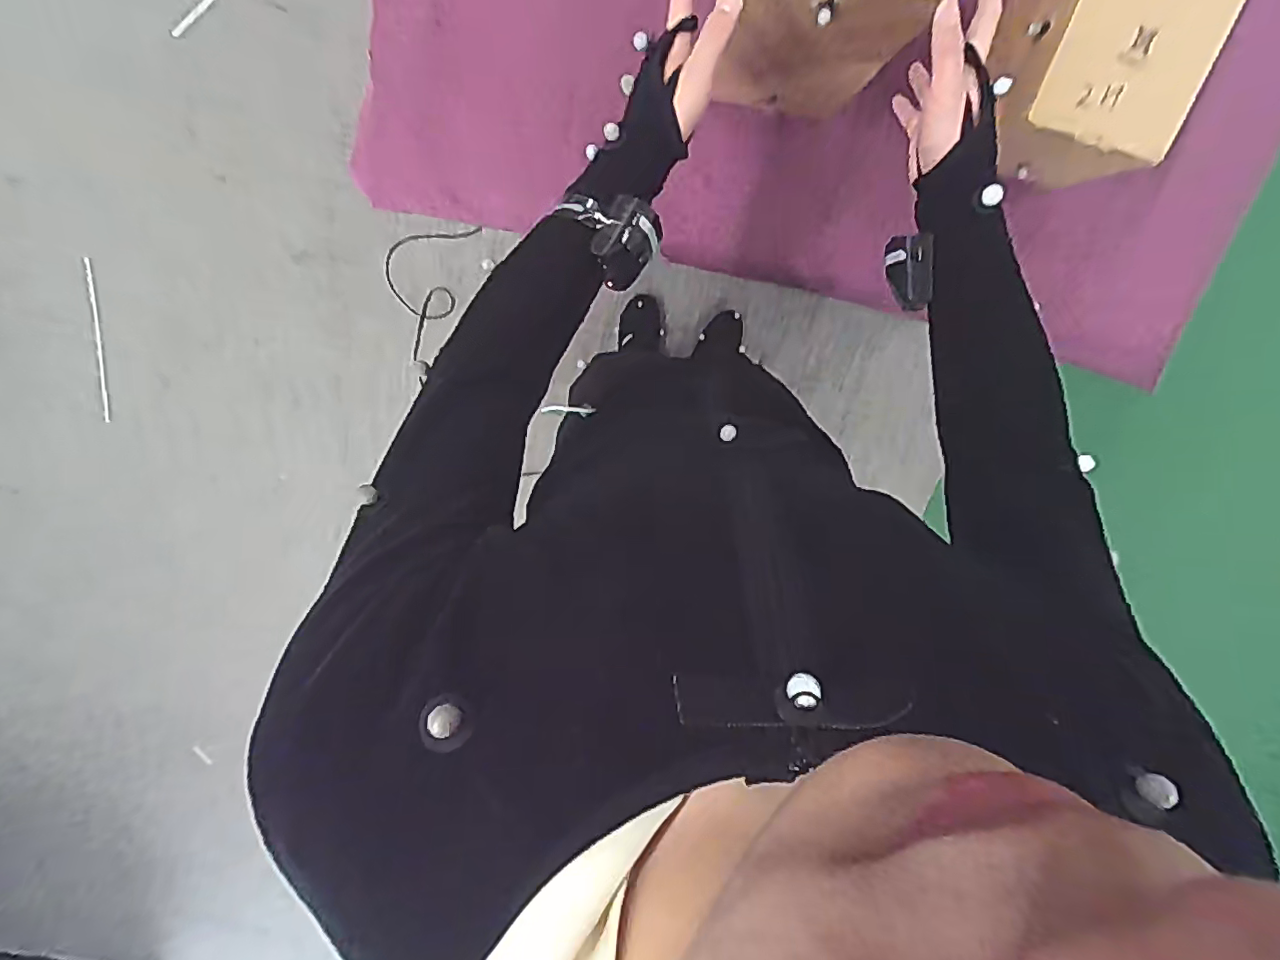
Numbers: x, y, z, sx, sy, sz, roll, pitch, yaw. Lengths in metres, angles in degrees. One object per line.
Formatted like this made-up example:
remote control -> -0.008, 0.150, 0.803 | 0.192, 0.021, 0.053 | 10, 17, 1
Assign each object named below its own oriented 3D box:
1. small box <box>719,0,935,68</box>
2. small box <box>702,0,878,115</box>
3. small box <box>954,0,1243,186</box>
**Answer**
small box -> 0.171, -0.489, 0.465 | 0.179, 0.176, 0.168 | 9, 111, -1
small box -> 0.177, -0.545, 0.619 | 0.179, 0.176, 0.168 | 9, 109, -2
small box -> 0.515, -0.475, 0.637 | 0.168, 0.176, 0.179 | 15, 110, -4
